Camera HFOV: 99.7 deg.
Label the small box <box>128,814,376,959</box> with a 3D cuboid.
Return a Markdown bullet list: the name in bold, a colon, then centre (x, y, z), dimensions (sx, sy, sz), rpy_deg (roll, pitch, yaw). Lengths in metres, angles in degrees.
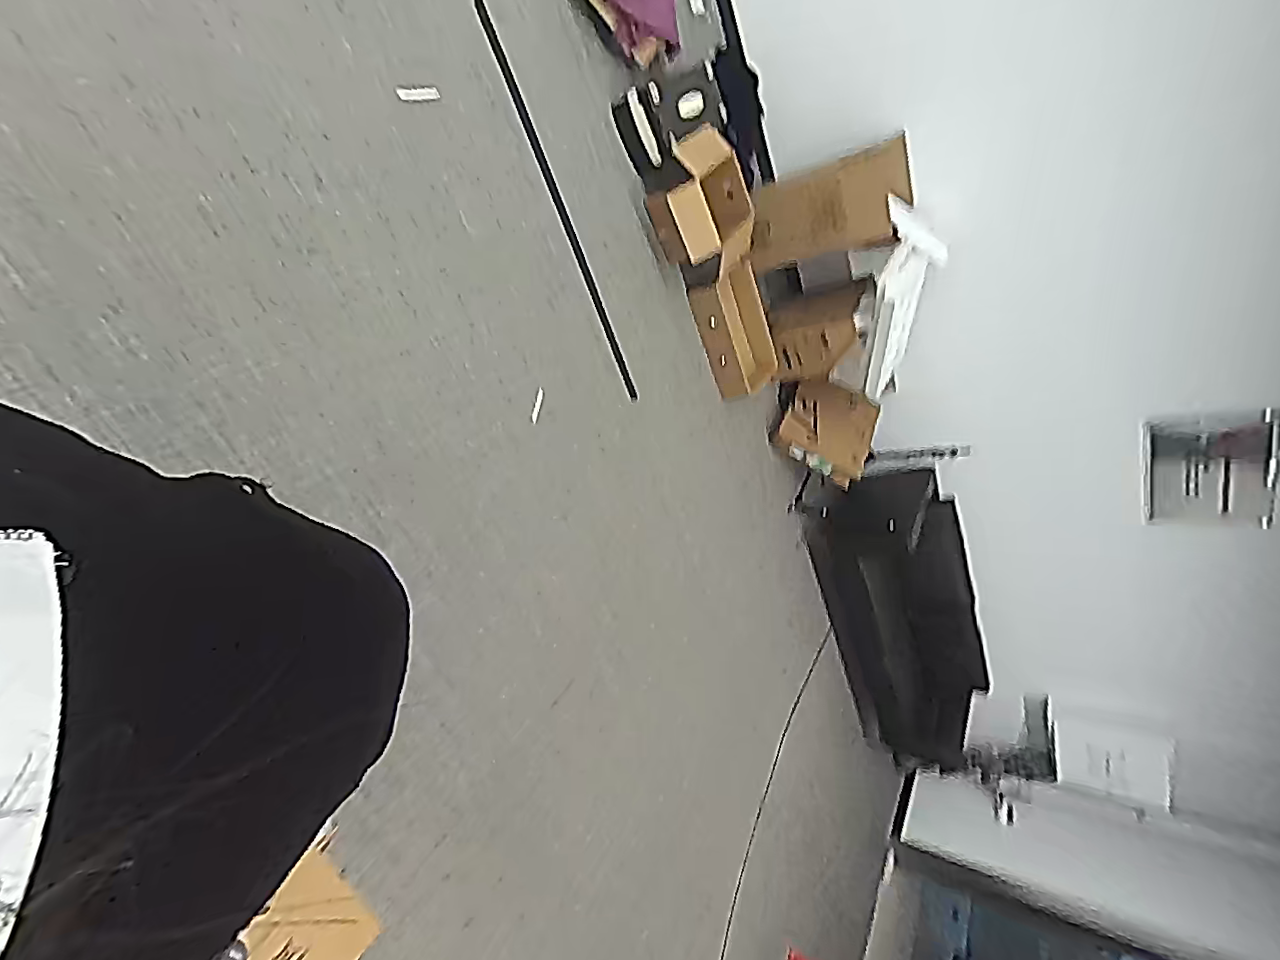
- **small box**: centre (-0.475, 0.557, 0.669), dimensions (0.168, 0.176, 0.179), rpy_deg (-42, 117, -46)
